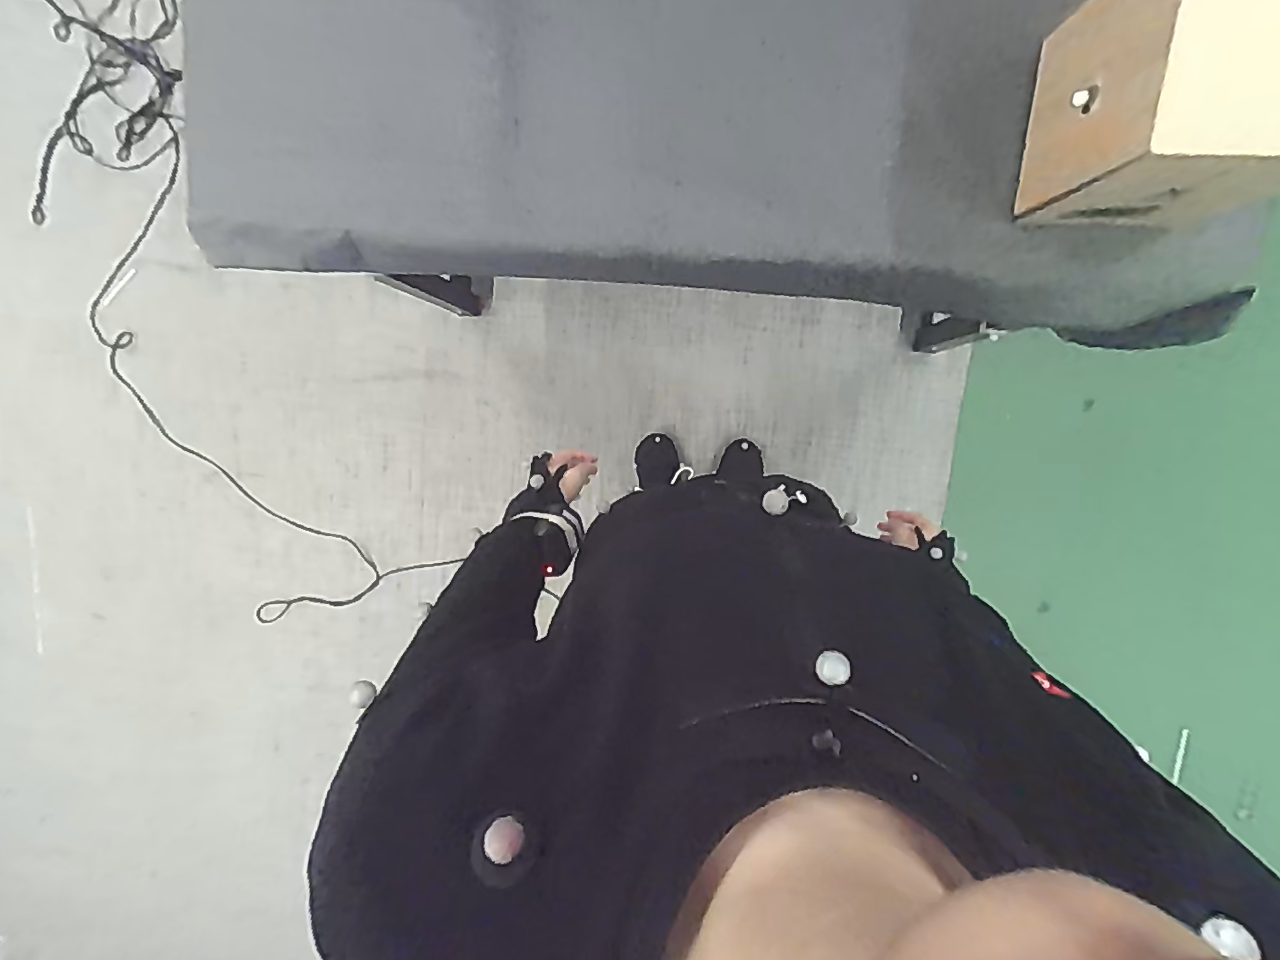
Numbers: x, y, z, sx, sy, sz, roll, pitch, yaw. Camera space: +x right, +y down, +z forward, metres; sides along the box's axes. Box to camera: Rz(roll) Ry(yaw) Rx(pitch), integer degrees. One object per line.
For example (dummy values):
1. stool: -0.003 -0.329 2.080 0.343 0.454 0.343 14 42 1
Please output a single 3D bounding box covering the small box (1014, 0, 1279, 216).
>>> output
1. small box: 0.471 -0.343 0.464 0.168 0.179 0.176 3 101 4
